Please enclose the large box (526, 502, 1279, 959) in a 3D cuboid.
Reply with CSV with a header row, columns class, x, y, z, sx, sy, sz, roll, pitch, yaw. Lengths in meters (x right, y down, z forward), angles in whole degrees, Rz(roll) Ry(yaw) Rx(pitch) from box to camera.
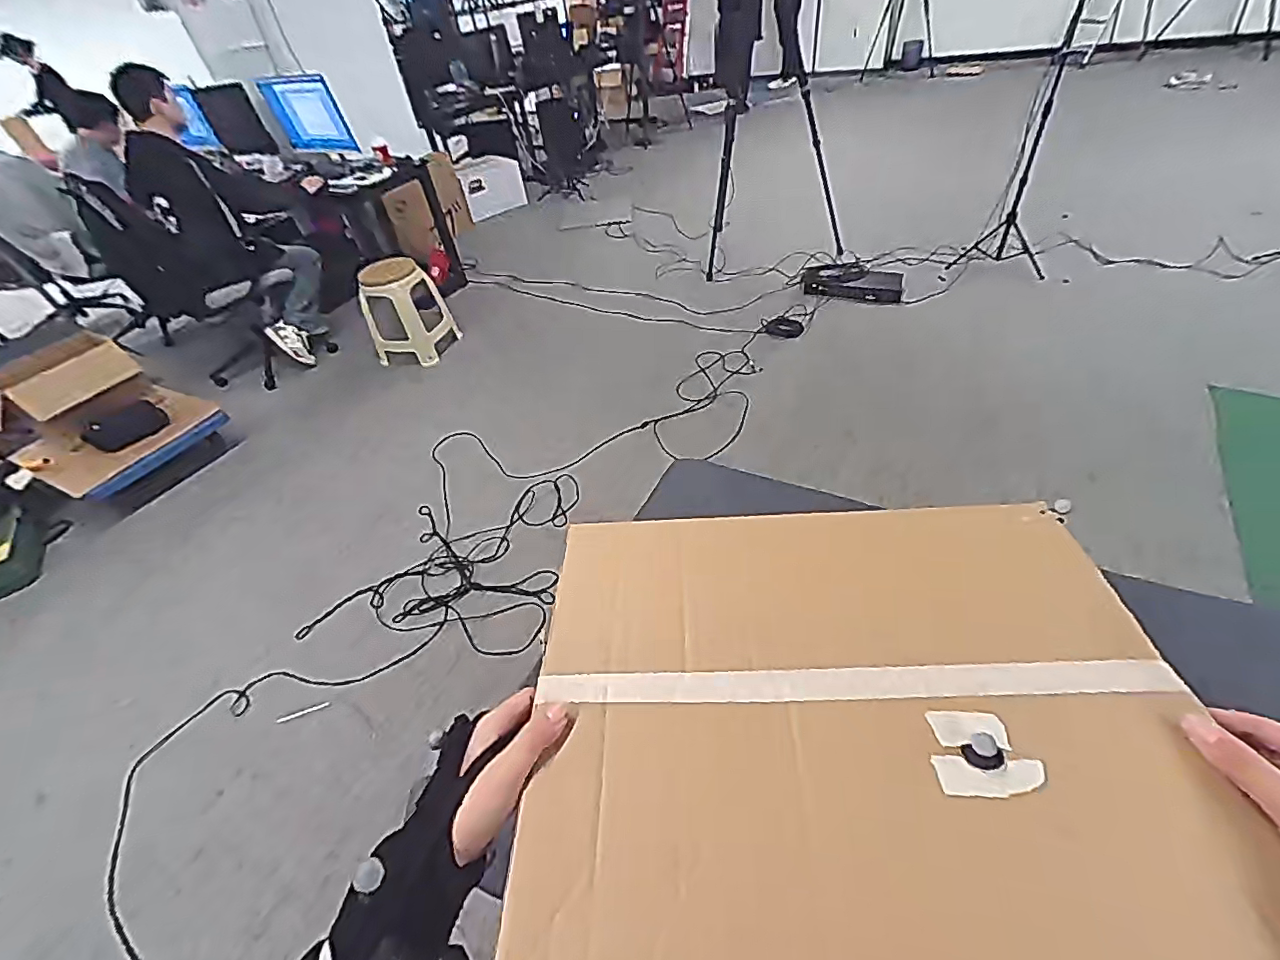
class,x,y,z,sx,sy,sz,roll,pitch,yaw
large box,0.150,0.242,0.469,0.408,0.320,0.320,-3,43,4
